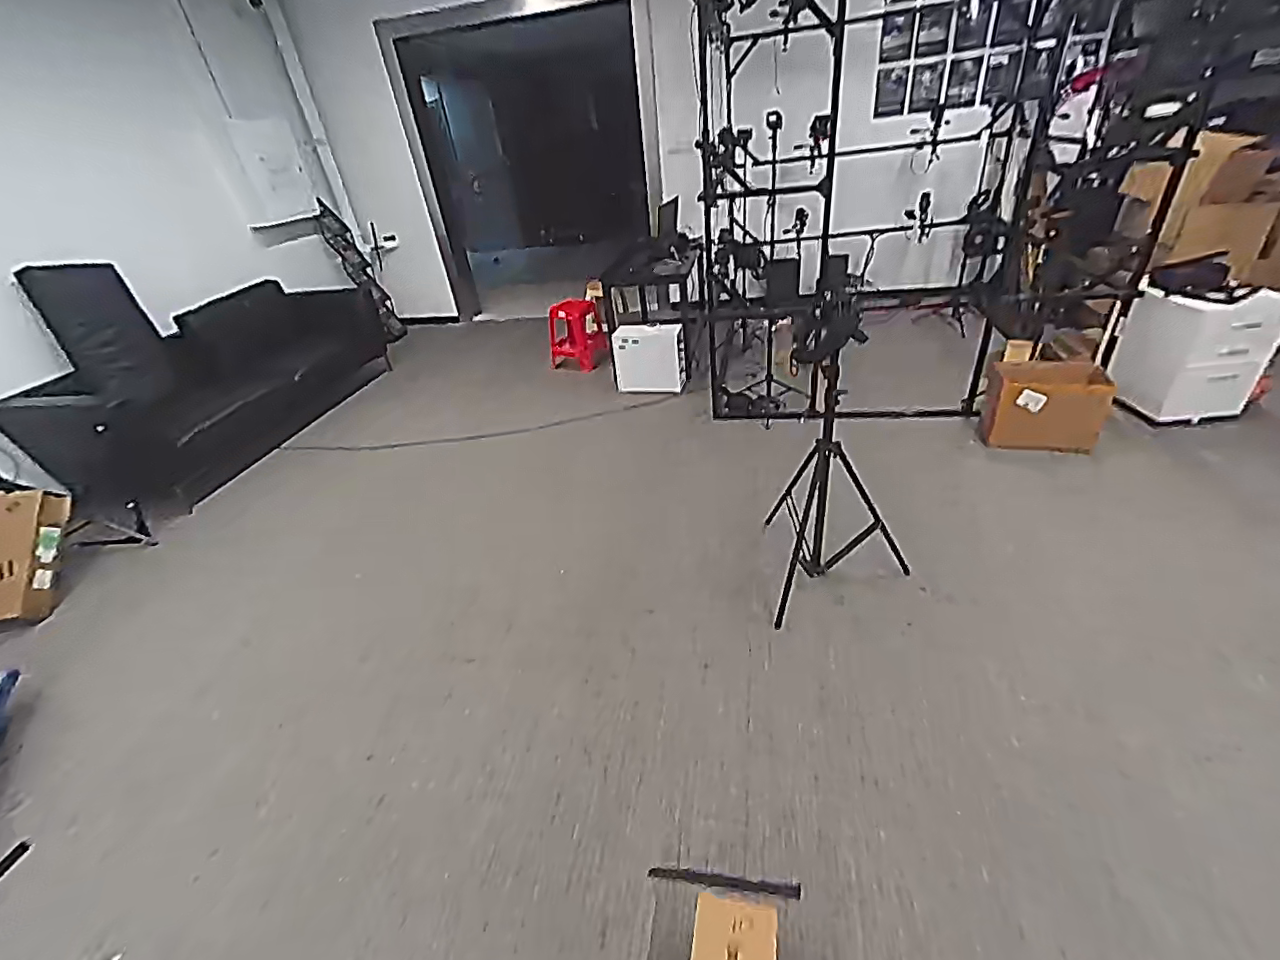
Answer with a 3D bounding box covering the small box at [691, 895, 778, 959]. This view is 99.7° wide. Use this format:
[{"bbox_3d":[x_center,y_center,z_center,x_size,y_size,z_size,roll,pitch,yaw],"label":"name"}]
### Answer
[{"bbox_3d":[0.195,1.001,1.105,0.168,0.176,0.179,2,33,14],"label":"small box"}]
